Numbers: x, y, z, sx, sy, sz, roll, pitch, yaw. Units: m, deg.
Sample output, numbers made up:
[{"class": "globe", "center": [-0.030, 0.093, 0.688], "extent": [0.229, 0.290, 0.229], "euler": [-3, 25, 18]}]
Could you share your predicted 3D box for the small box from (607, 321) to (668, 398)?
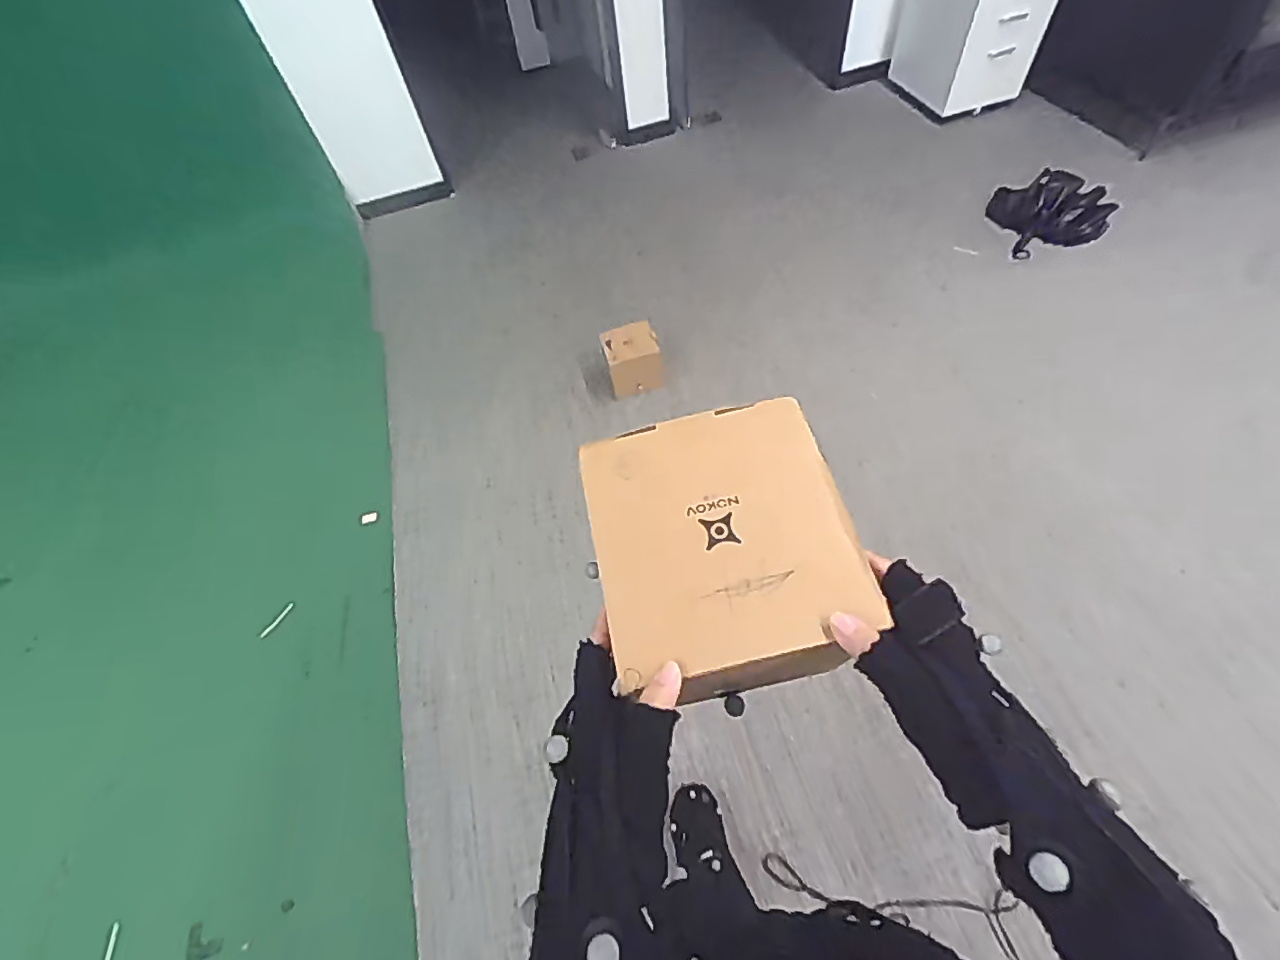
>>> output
[{"class": "small box", "center": [-0.004, -0.412, 1.862], "extent": [0.179, 0.176, 0.168], "euler": [-16, 56, -2]}]

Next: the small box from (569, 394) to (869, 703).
[{"class": "small box", "center": [0.049, 0.064, 0.427], "extent": [0.168, 0.176, 0.179], "euler": [-13, 63, 1]}]
